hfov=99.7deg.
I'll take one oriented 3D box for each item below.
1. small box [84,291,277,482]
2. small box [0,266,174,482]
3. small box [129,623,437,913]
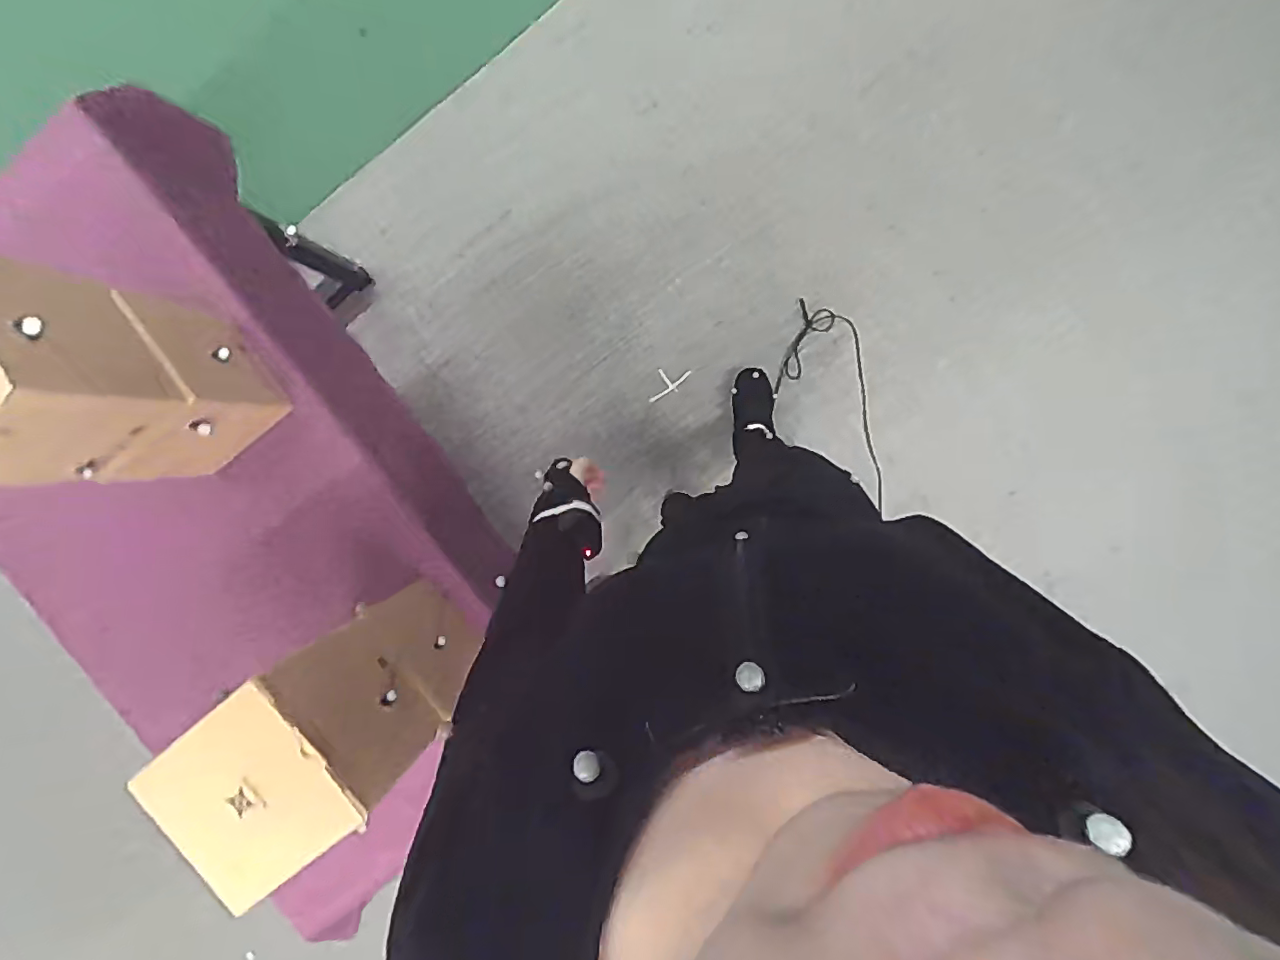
[{"bbox_3d":[-0.639,-0.118,0.729,0.179,0.176,0.168,-36,91,7],"label":"small box"},{"bbox_3d":[-0.658,-0.110,0.566,0.168,0.176,0.179,-35,91,6],"label":"small box"},{"bbox_3d":[-0.356,0.286,0.575,0.179,0.176,0.168,-39,91,6],"label":"small box"}]
